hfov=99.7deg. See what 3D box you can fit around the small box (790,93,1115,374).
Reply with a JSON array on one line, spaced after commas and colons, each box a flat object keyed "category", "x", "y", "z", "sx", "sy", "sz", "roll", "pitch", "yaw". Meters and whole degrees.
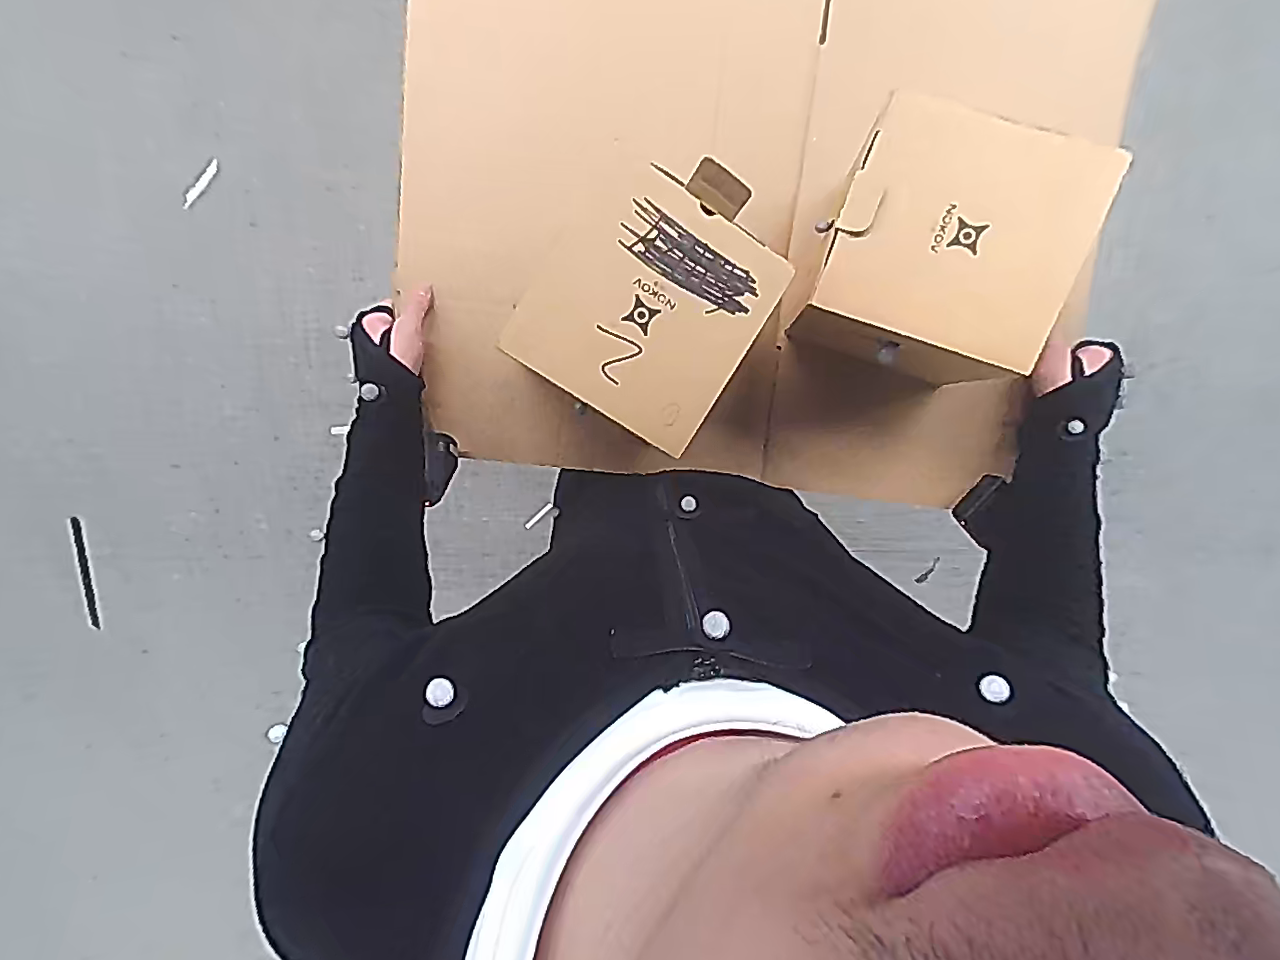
[{"category": "small box", "x": 0.254, "y": -0.201, "z": 0.495, "sx": 0.179, "sy": 0.176, "sz": 0.168, "roll": 21, "pitch": 100, "yaw": 7}]
